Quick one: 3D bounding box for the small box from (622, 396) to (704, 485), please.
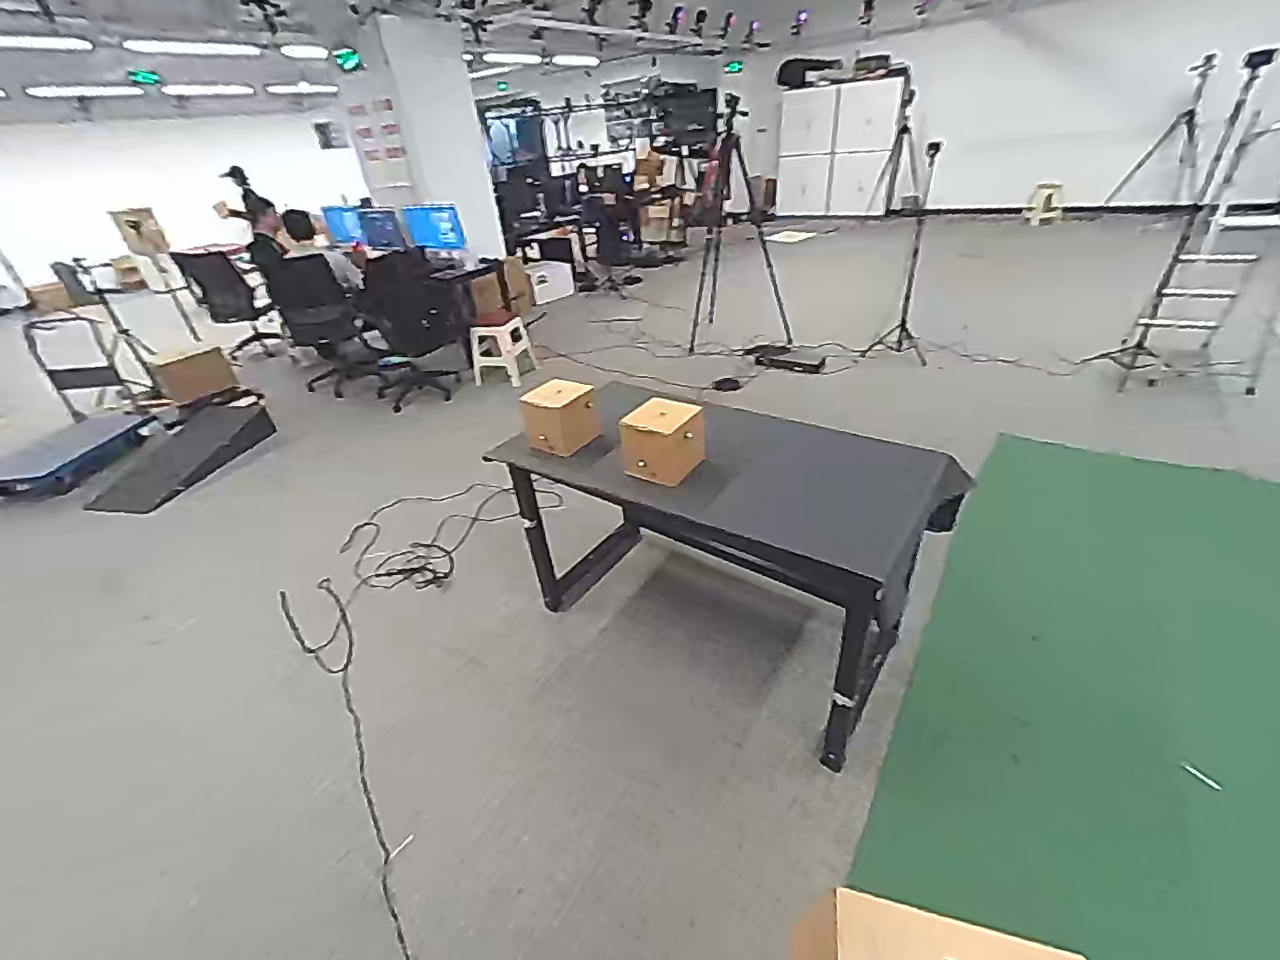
[{"bbox_3d":[0.067,-0.113,1.516,0.168,0.176,0.179,18,40,31],"label":"small box"}]

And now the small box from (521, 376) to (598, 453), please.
[{"bbox_3d":[-0.245,-0.207,1.701,0.168,0.176,0.179,17,39,31],"label":"small box"}]
